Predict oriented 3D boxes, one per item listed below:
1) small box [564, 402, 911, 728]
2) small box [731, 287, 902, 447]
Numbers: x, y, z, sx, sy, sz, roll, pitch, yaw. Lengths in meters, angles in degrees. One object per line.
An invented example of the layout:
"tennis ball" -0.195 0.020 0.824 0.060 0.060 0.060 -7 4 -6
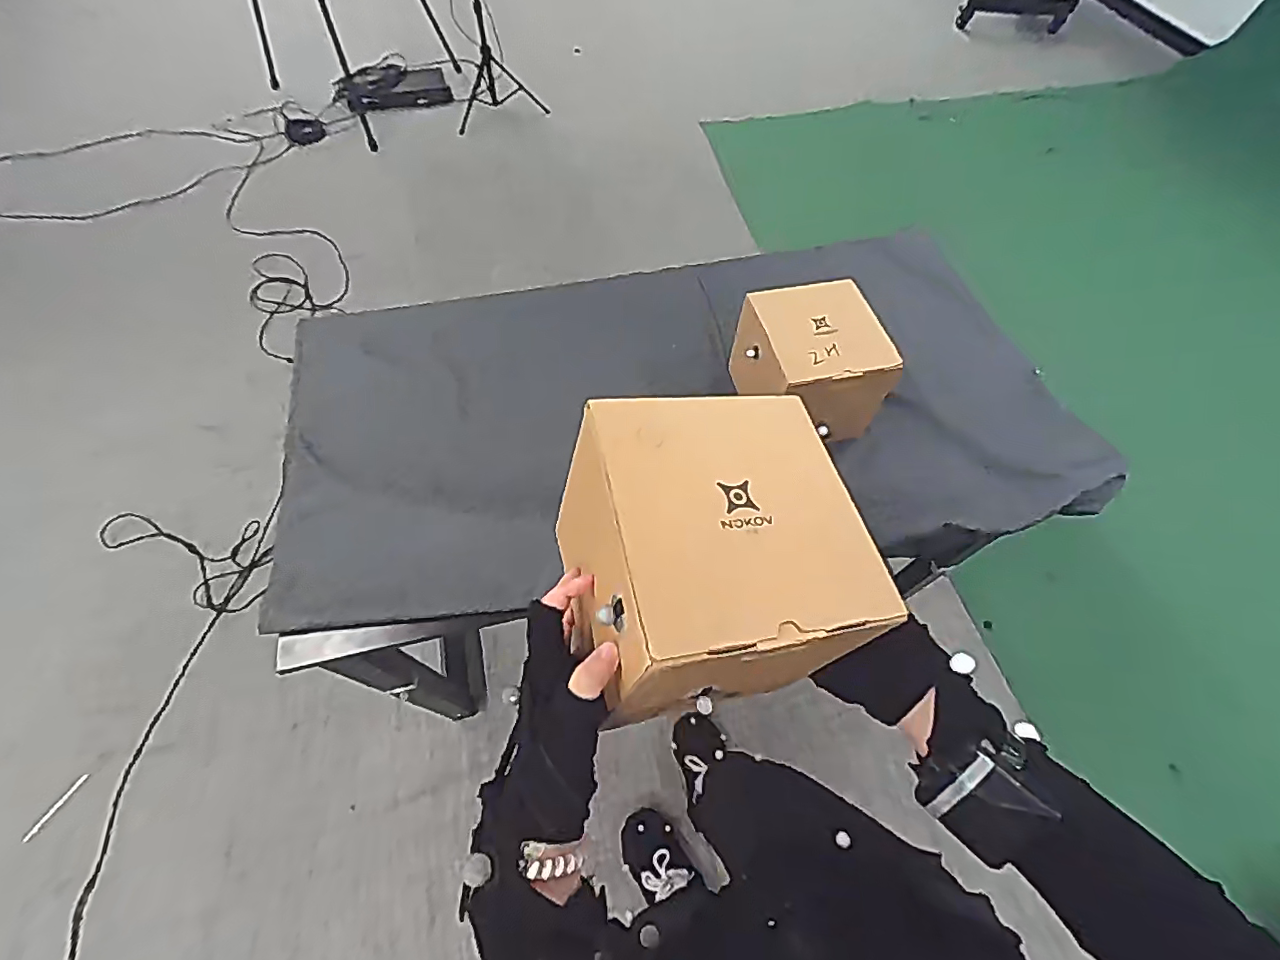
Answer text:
"small box" 0.046 0.062 0.400 0.168 0.176 0.179 -3 58 -20
"small box" 0.248 -0.160 0.816 0.168 0.176 0.179 -10 61 -8
